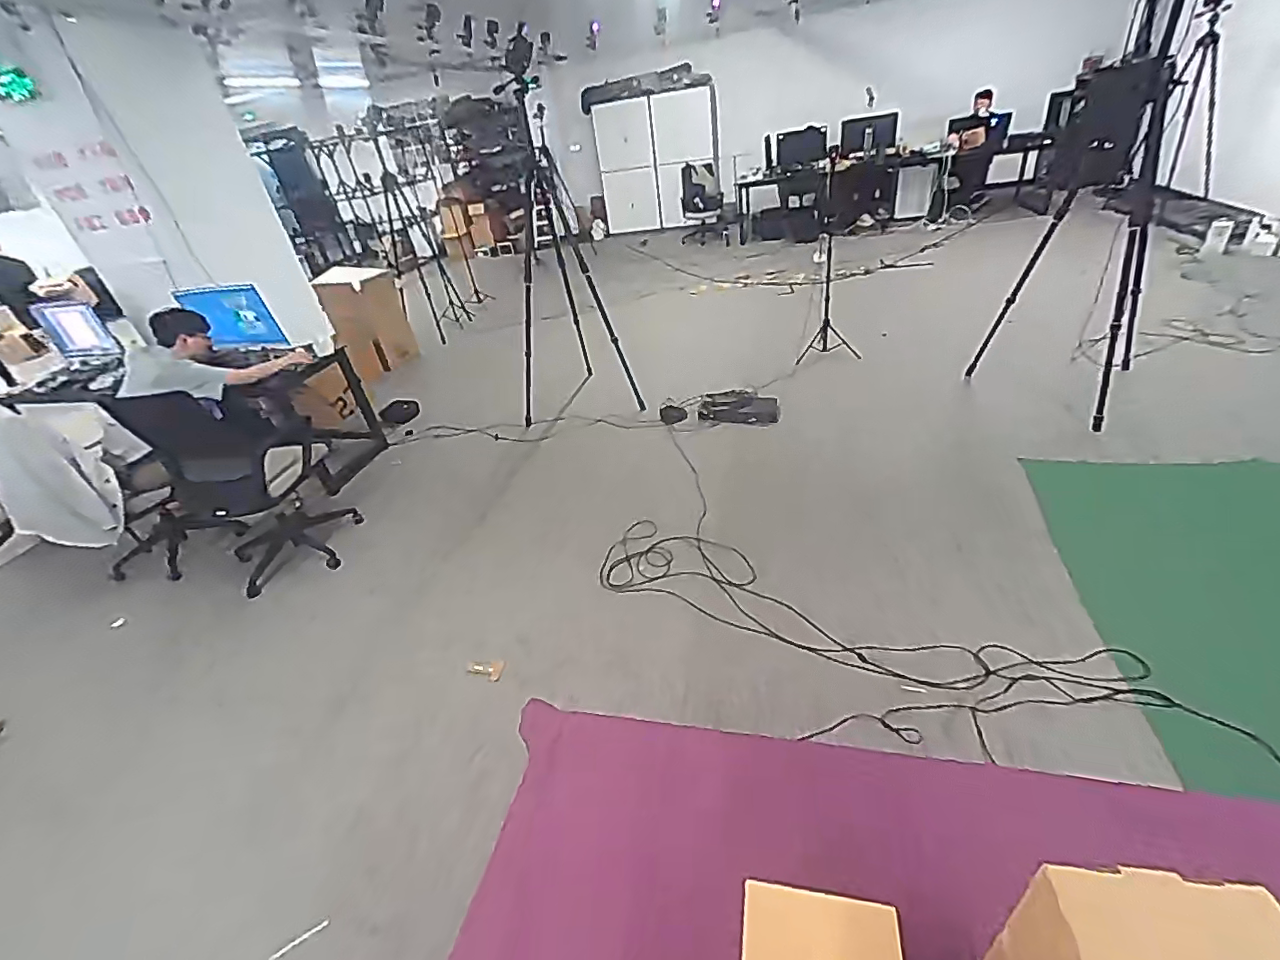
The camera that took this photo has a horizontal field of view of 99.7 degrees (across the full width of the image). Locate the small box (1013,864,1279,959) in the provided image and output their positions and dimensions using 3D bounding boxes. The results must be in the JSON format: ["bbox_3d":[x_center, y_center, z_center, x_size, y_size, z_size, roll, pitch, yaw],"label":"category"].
[{"bbox_3d":[0.429,0.447,0.425,0.168,0.176,0.179,-2,33,13],"label":"small box"}]
